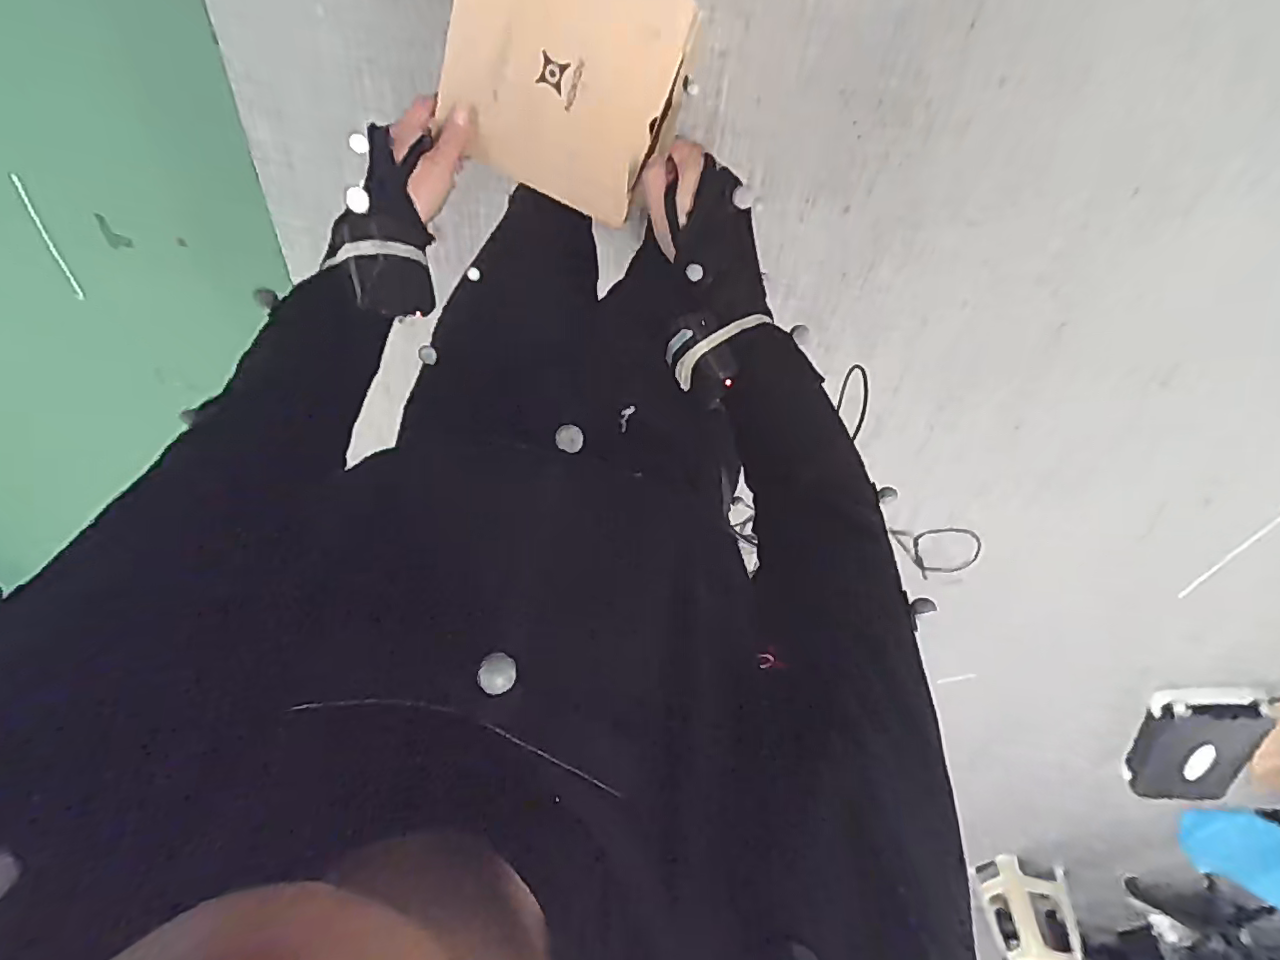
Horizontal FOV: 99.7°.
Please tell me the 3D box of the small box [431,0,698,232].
[{"bbox_3d":[-0.057,-0.351,0.485,0.179,0.176,0.168,22,122,-6],"label":"small box"}]
